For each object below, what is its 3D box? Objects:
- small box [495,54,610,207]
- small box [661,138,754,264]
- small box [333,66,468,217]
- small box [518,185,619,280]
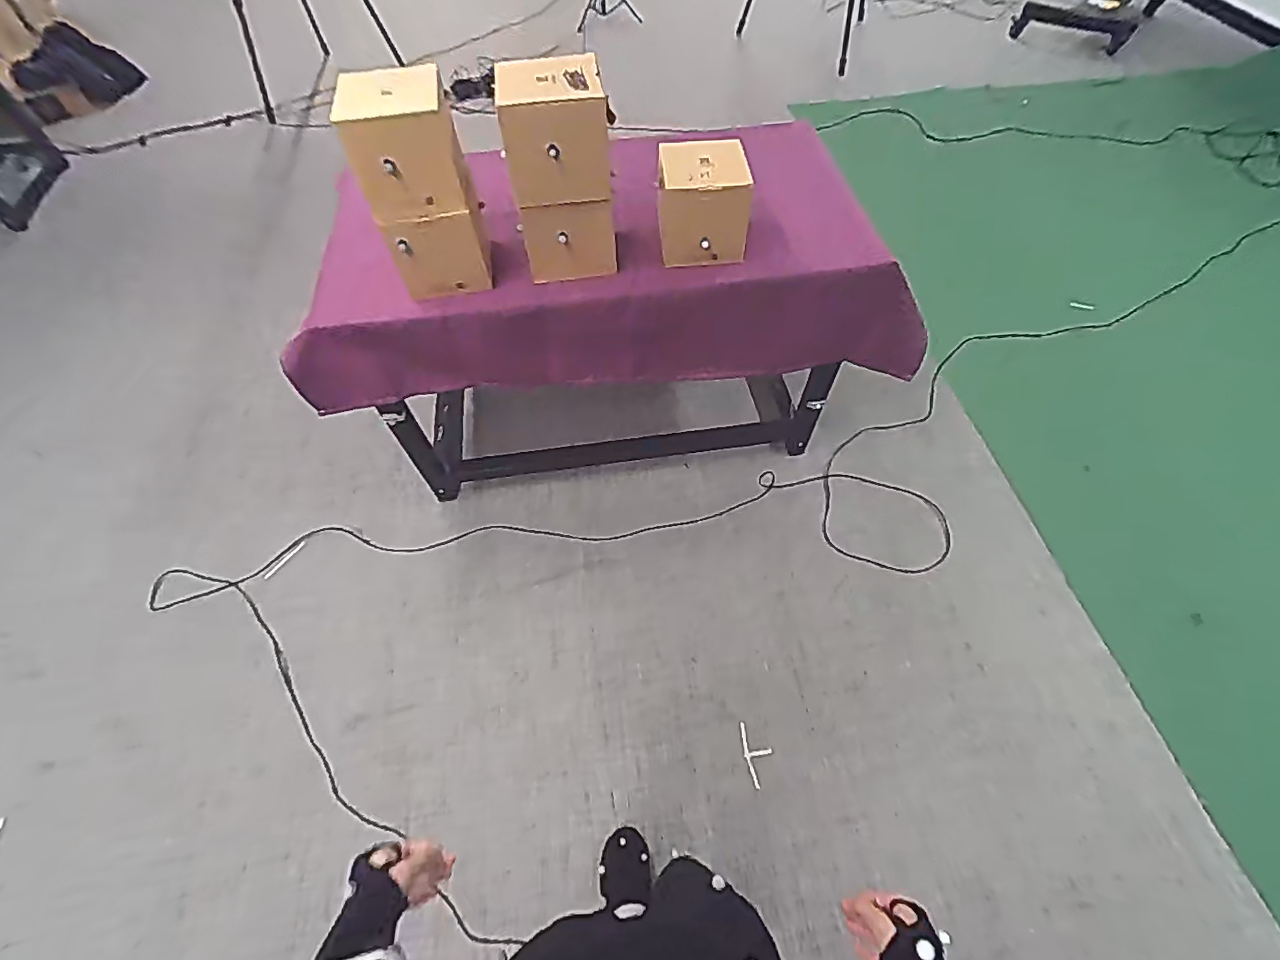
[{"bbox_3d":[-0.148,-0.611,0.953,0.179,0.176,0.168,-8,57,-2],"label":"small box"},{"bbox_3d":[0.129,-0.569,1.109,0.168,0.176,0.179,-4,57,0],"label":"small box"},{"bbox_3d":[-0.407,-0.583,0.947,0.168,0.176,0.179,-11,57,-5],"label":"small box"},{"bbox_3d":[-0.144,-0.528,1.095,0.179,0.176,0.168,-9,58,-3],"label":"small box"}]
